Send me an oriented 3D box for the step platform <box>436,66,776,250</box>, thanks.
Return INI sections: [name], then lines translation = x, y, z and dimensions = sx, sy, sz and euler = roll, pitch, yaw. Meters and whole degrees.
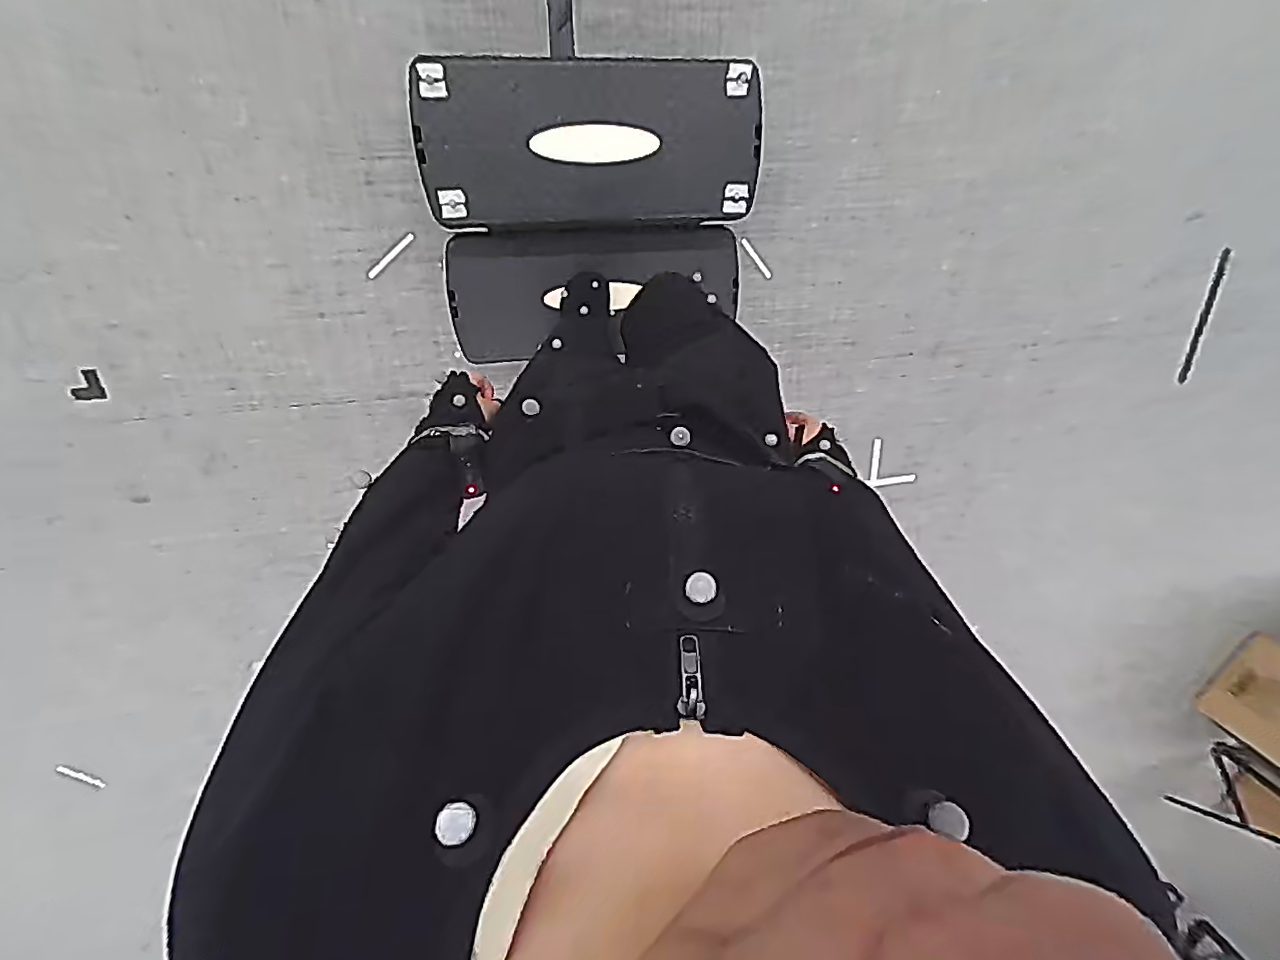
[step platform]
translation = -0.065, -0.651, 1.134
dimensions = 0.684, 0.204, 0.286
euler = -2, 112, -10
